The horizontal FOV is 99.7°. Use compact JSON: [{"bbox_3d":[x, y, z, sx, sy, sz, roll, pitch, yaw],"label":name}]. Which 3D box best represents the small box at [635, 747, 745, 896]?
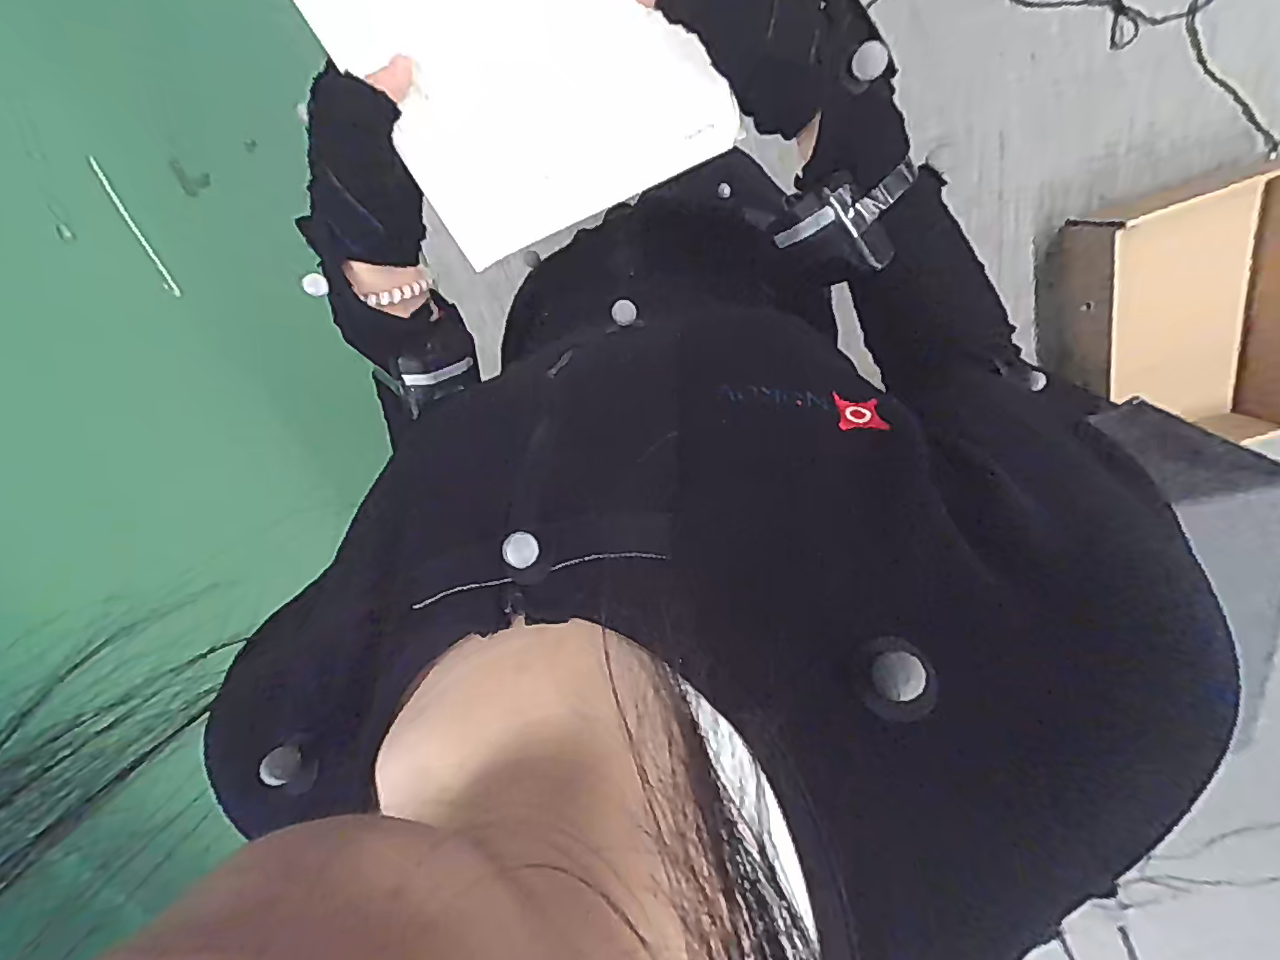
[{"bbox_3d":[0.094,0.633,1.008,0.168,0.176,0.179,-12,116,8],"label":"small box"}]
